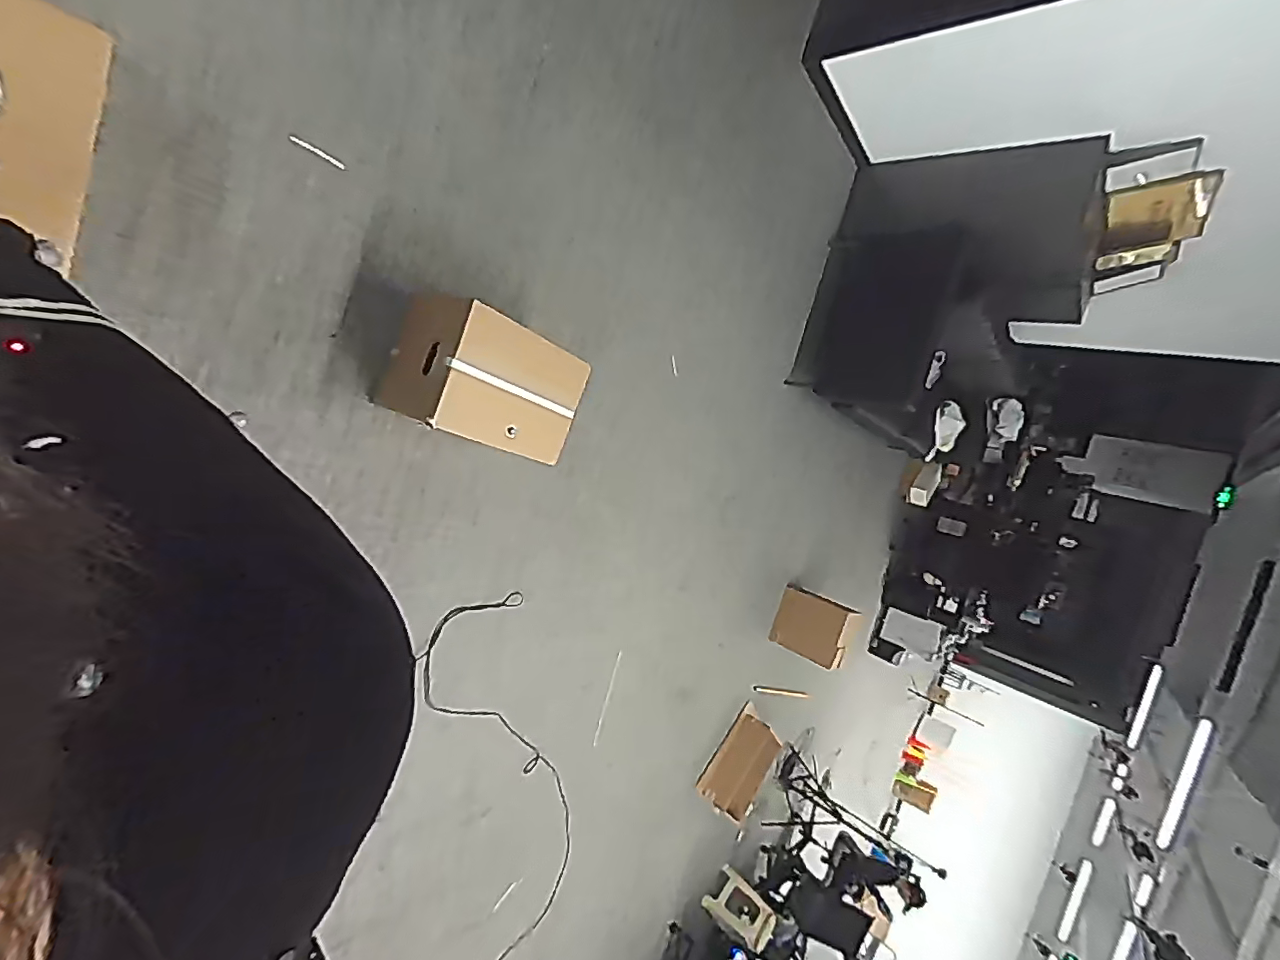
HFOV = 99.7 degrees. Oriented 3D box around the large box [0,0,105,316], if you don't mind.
[{"bbox_3d":[-0.992,-0.471,0.742,0.320,0.320,0.408,10,96,-51],"label":"large box"}]
